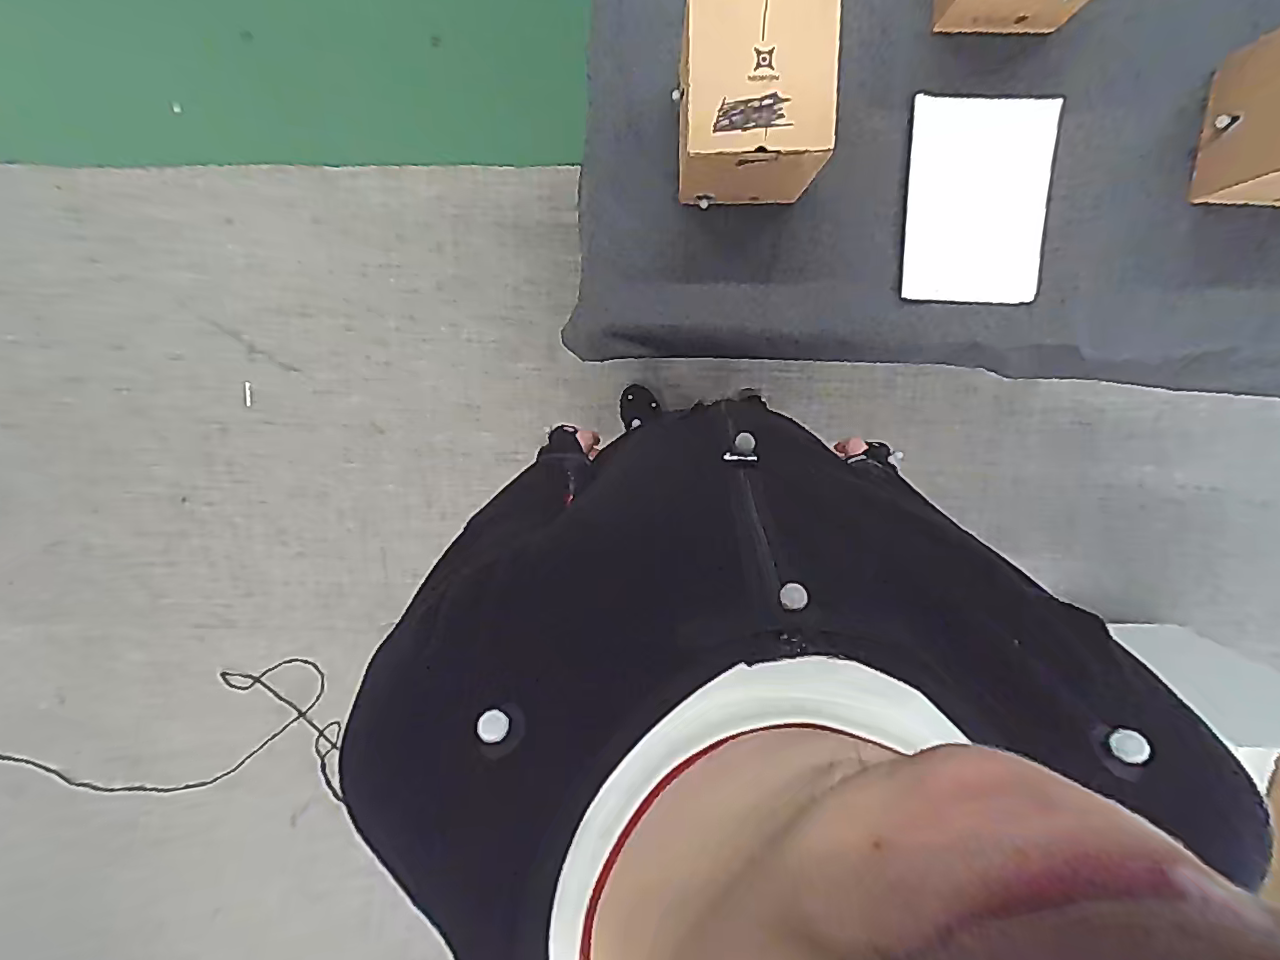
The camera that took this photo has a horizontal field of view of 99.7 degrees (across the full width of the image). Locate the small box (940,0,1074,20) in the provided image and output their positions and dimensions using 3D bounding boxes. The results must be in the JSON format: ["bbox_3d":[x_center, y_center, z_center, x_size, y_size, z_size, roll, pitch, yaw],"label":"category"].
[{"bbox_3d":[0.466,-0.670,0.615,0.168,0.176,0.179,0,100,0],"label":"small box"}]

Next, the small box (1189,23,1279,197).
[{"bbox_3d":[0.842,-0.461,0.661,0.168,0.176,0.179,2,102,1],"label":"small box"}]

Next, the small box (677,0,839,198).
[{"bbox_3d":[0.134,-0.467,0.674,0.168,0.176,0.179,-1,100,1],"label":"small box"}]
